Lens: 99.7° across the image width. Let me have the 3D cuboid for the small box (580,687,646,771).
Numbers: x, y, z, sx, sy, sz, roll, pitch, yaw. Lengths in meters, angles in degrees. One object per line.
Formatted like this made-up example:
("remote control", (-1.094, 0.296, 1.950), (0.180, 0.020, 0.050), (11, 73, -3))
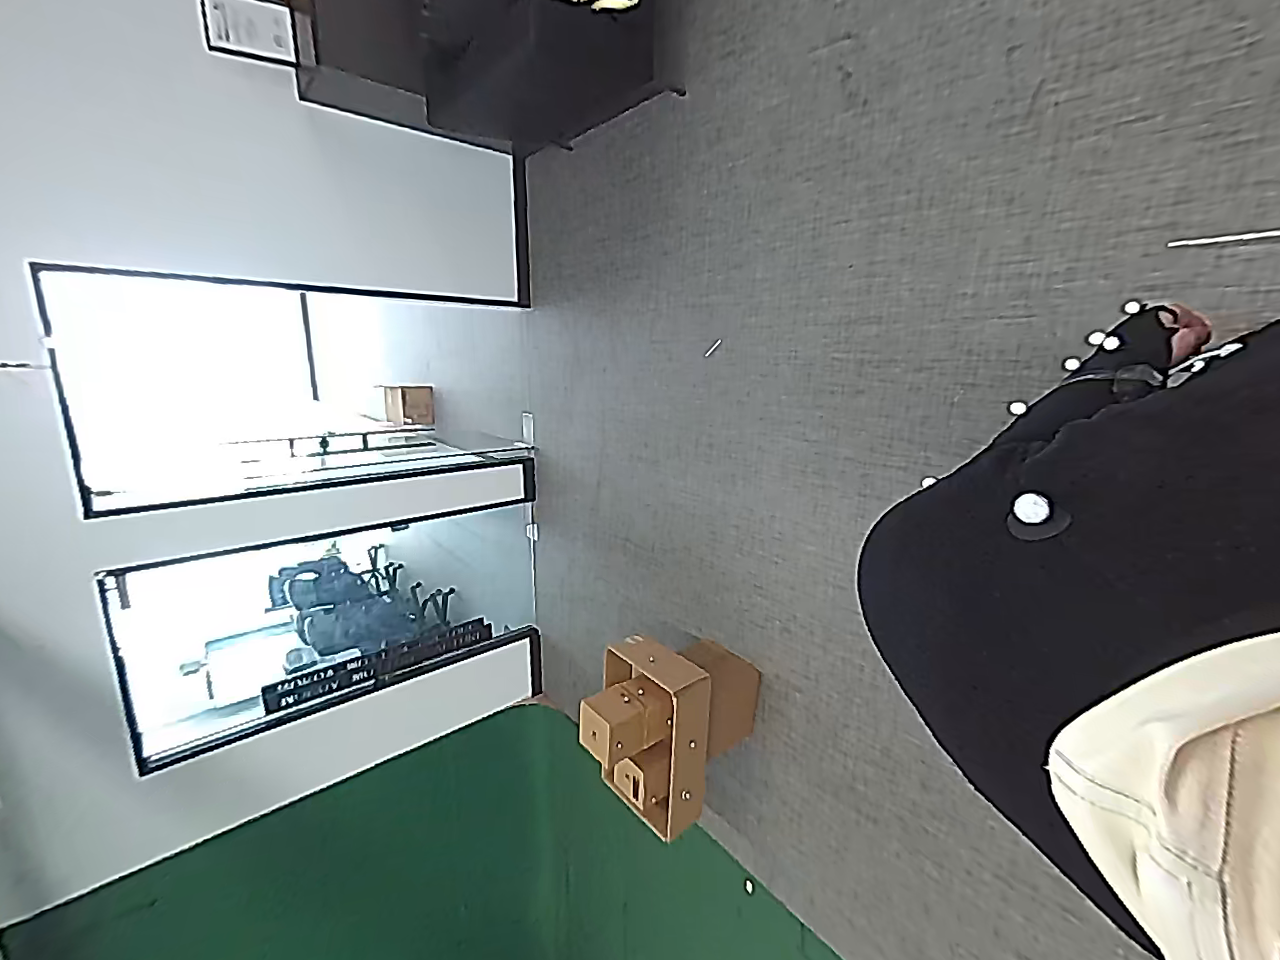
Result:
("small box", (-0.093, 0.863, 1.890), (0.168, 0.176, 0.179), (18, 110, 45))
